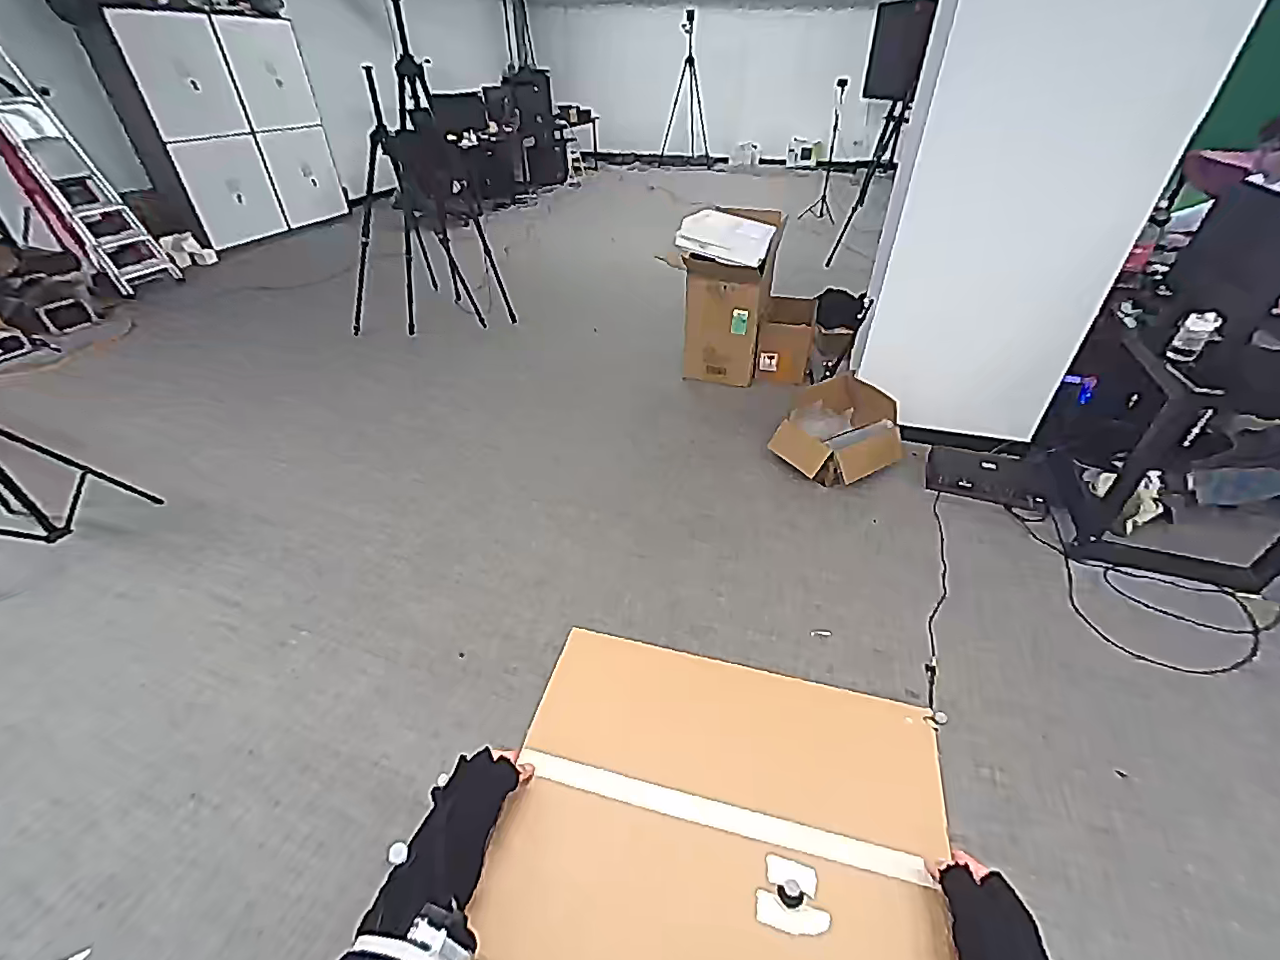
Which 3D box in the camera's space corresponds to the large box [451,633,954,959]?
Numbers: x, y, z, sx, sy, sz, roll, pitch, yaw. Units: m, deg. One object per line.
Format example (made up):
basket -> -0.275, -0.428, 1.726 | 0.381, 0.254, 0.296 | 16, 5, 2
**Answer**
large box -> 0.071, 0.424, 0.606 | 0.408, 0.320, 0.320 | 10, 43, 11
